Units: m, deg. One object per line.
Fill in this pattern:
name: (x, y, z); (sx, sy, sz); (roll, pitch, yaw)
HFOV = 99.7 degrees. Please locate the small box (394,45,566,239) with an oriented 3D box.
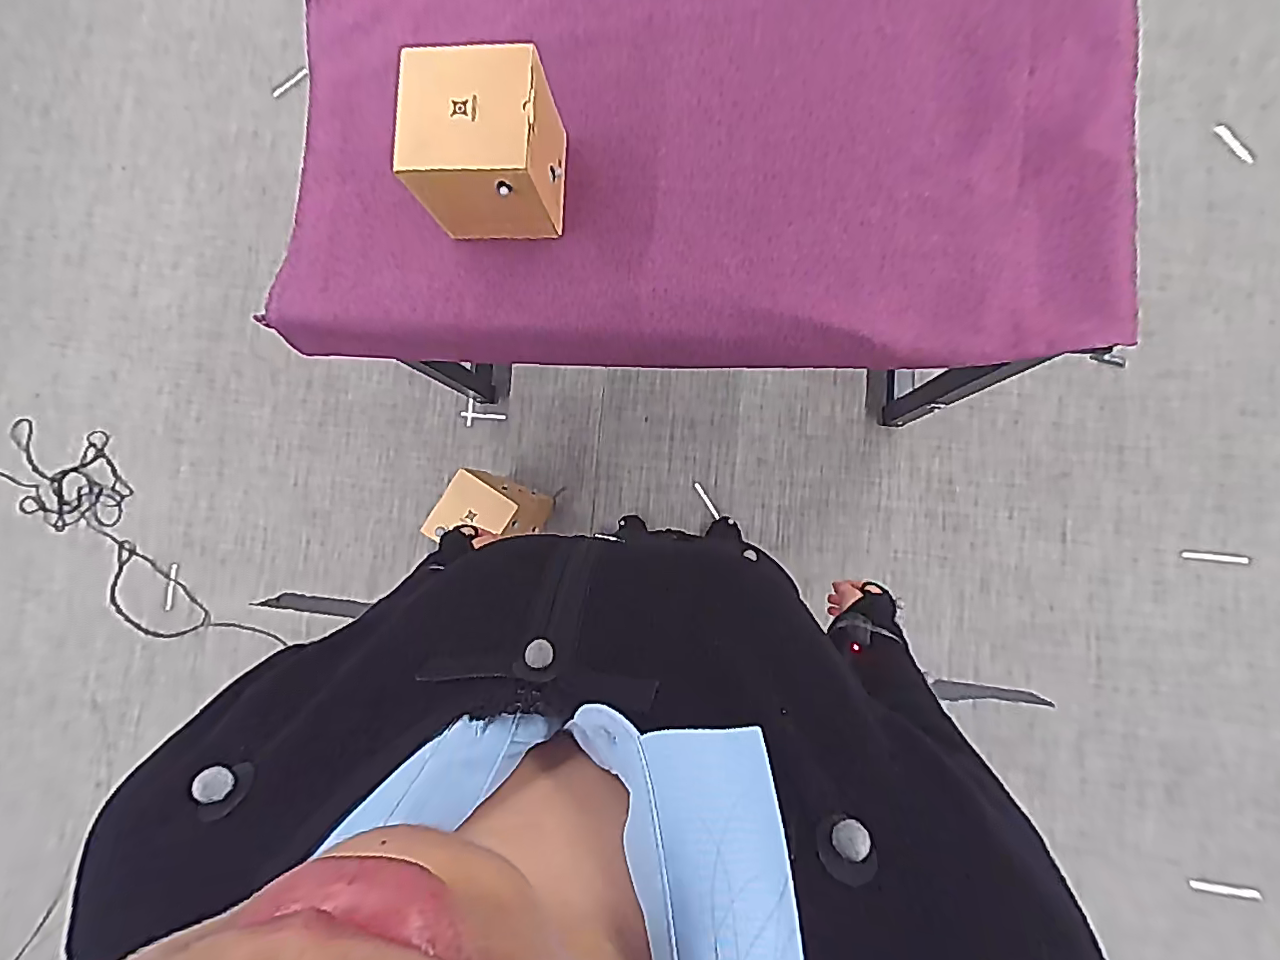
small box: (-0.211, -0.455, 0.752); (0.179, 0.176, 0.168); (2, 86, 5)

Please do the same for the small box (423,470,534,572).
small box: (-0.375, 0.095, 1.297); (0.168, 0.176, 0.179); (33, 91, 6)
